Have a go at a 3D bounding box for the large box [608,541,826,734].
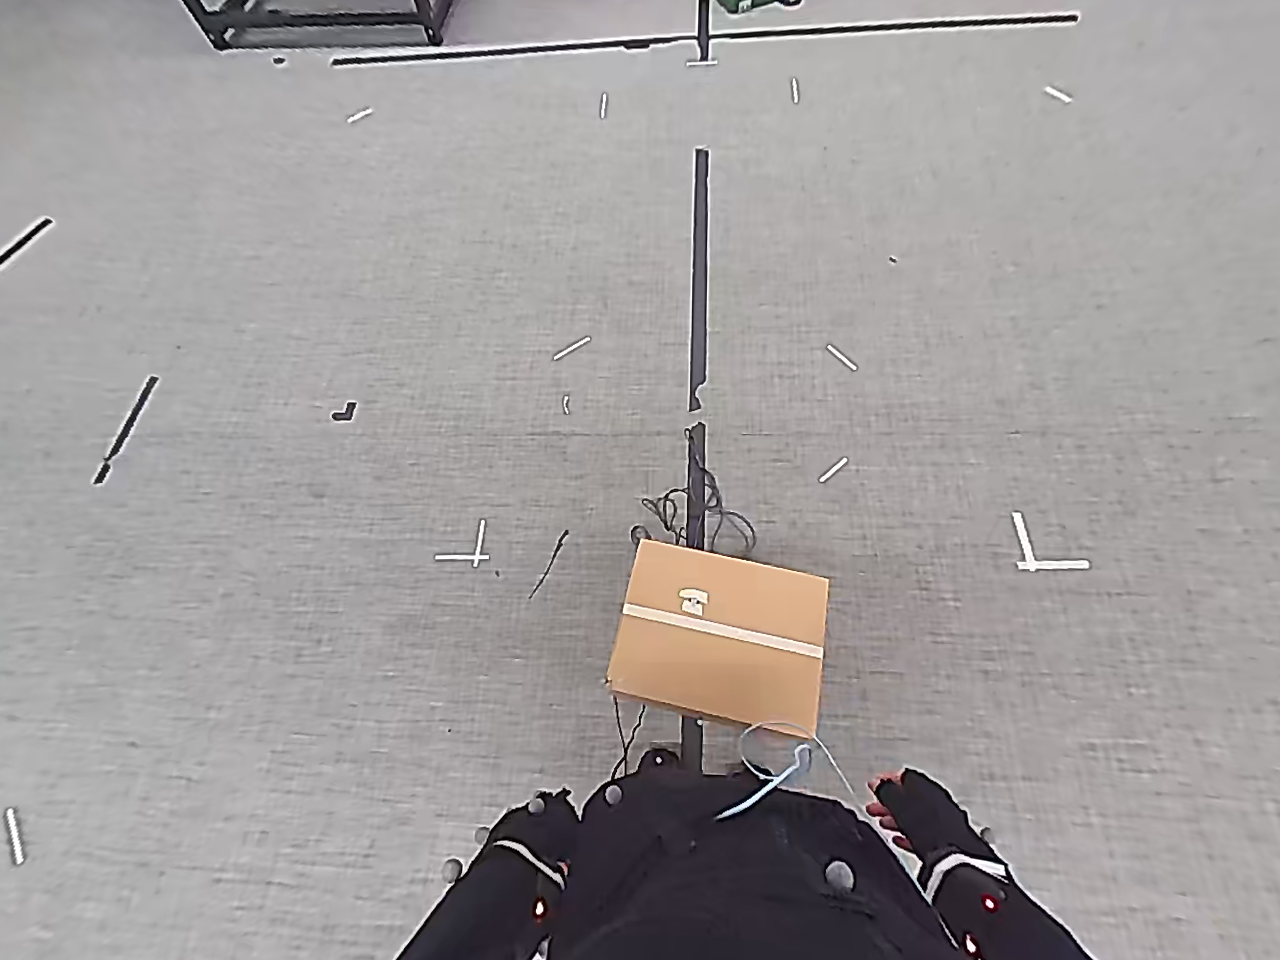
[{"bbox_3d":[0.171,0.365,1.223,0.408,0.320,0.320,12,65,8],"label":"large box"}]
